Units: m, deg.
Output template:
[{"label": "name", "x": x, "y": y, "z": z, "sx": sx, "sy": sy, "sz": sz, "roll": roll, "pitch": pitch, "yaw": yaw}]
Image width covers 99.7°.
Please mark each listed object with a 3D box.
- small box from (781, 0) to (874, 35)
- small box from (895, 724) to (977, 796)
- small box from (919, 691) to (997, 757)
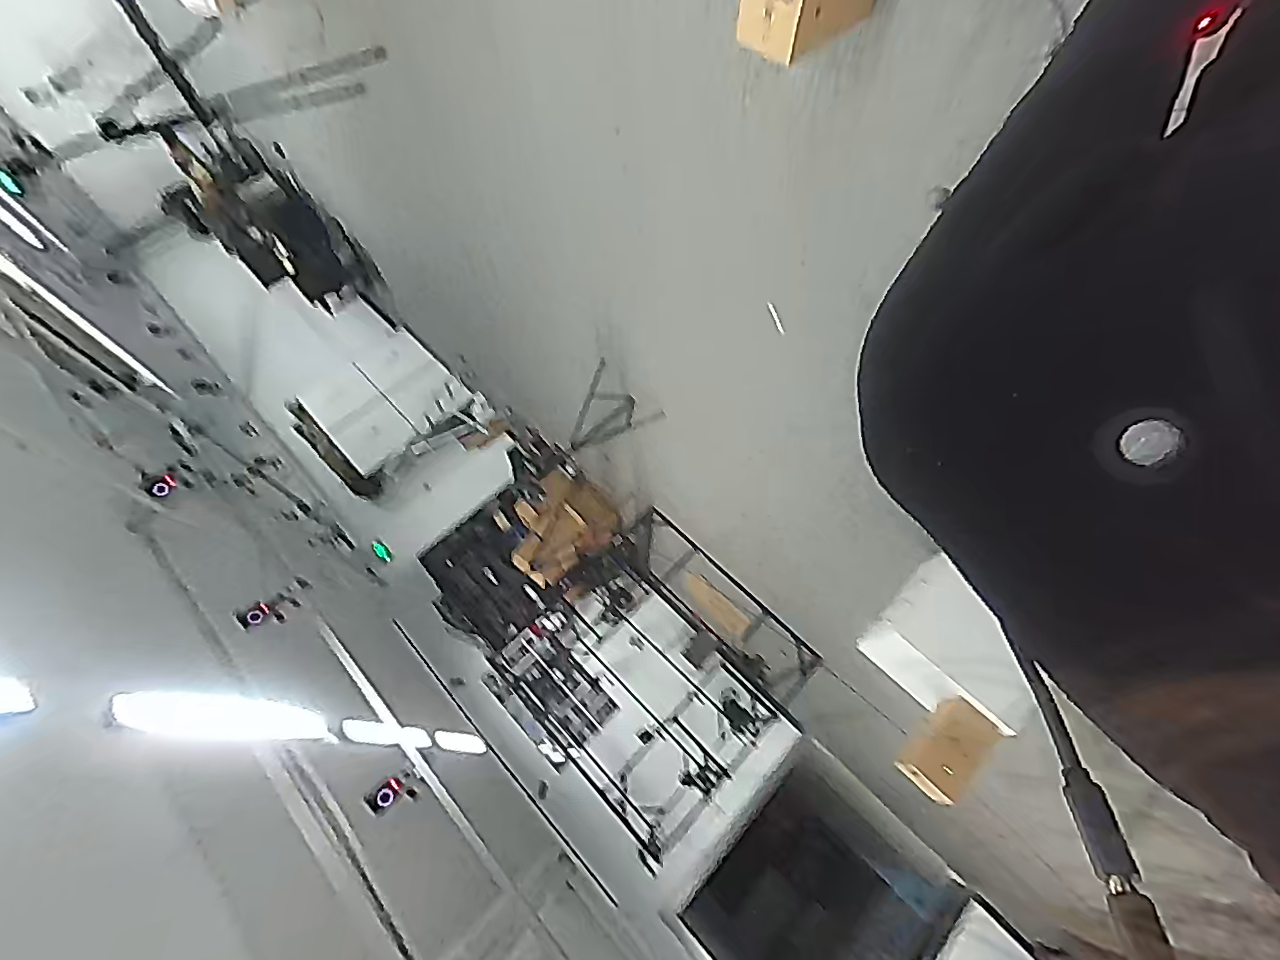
[{"label": "small box", "x": 0.468, "y": -1.216, "z": 1.283, "sx": 0.168, "sy": 0.176, "sz": 0.179, "roll": 42, "pitch": 161, "yaw": 19}, {"label": "small box", "x": 1.109, "y": 1.039, "z": 2.025, "sx": 0.179, "sy": 0.176, "sz": 0.168, "roll": 42, "pitch": 163, "yaw": 17}, {"label": "small box", "x": 1.225, "y": 0.935, "z": 2.079, "sx": 0.168, "sy": 0.176, "sz": 0.179, "roll": 42, "pitch": 162, "yaw": 18}]
